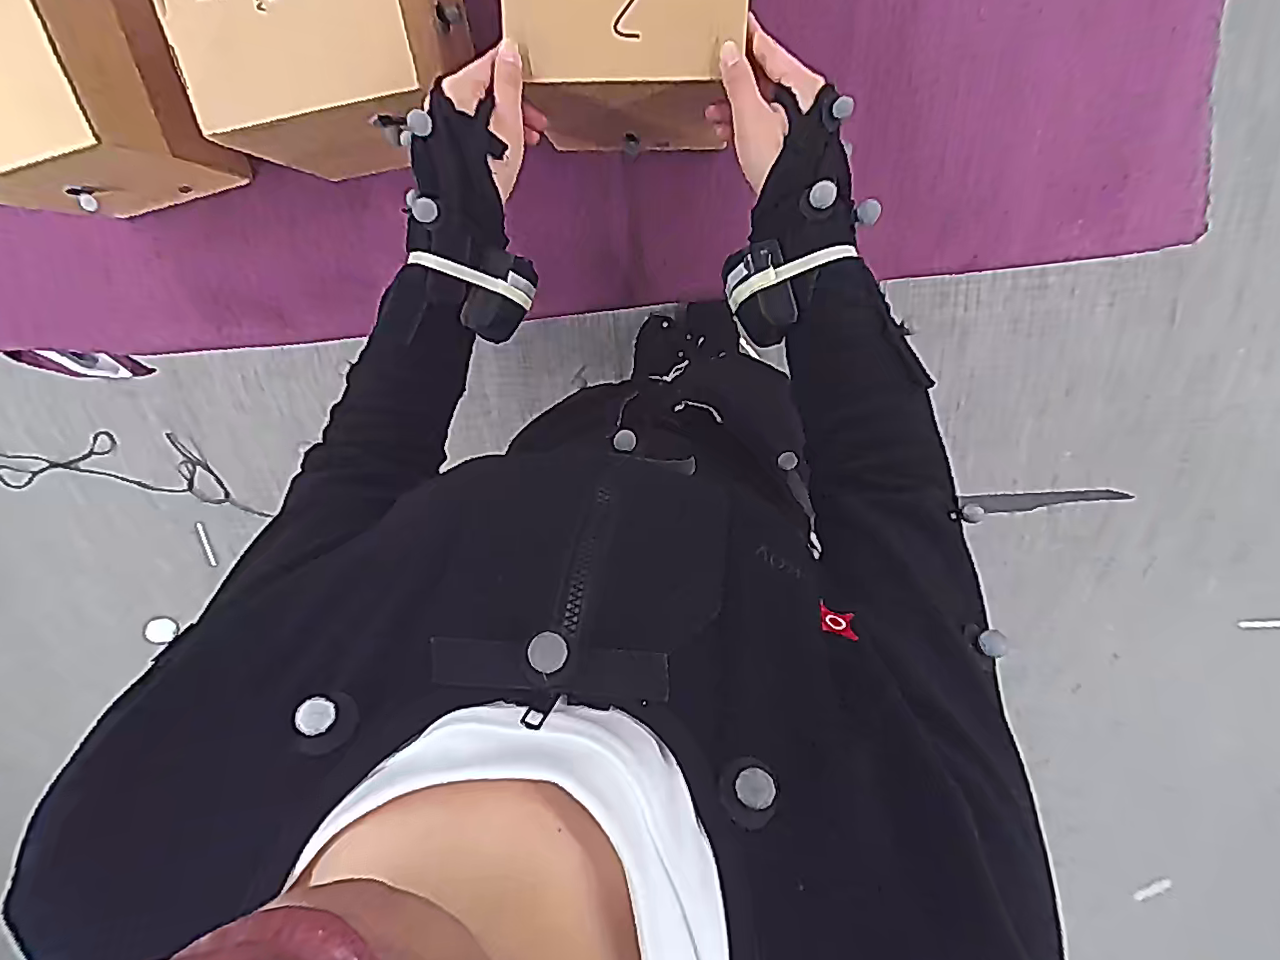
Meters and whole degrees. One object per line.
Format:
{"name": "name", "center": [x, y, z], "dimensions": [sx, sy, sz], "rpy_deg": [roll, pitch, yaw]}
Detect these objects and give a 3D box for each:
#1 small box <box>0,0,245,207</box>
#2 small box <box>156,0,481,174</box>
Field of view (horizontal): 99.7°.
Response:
{"name": "small box", "center": [-0.500, -0.351, 0.469], "dimensions": [0.168, 0.176, 0.179], "rpy_deg": [-10, 107, 8]}
{"name": "small box", "center": [-0.246, -0.370, 0.441], "dimensions": [0.179, 0.176, 0.168], "rpy_deg": [-8, 107, 6]}
